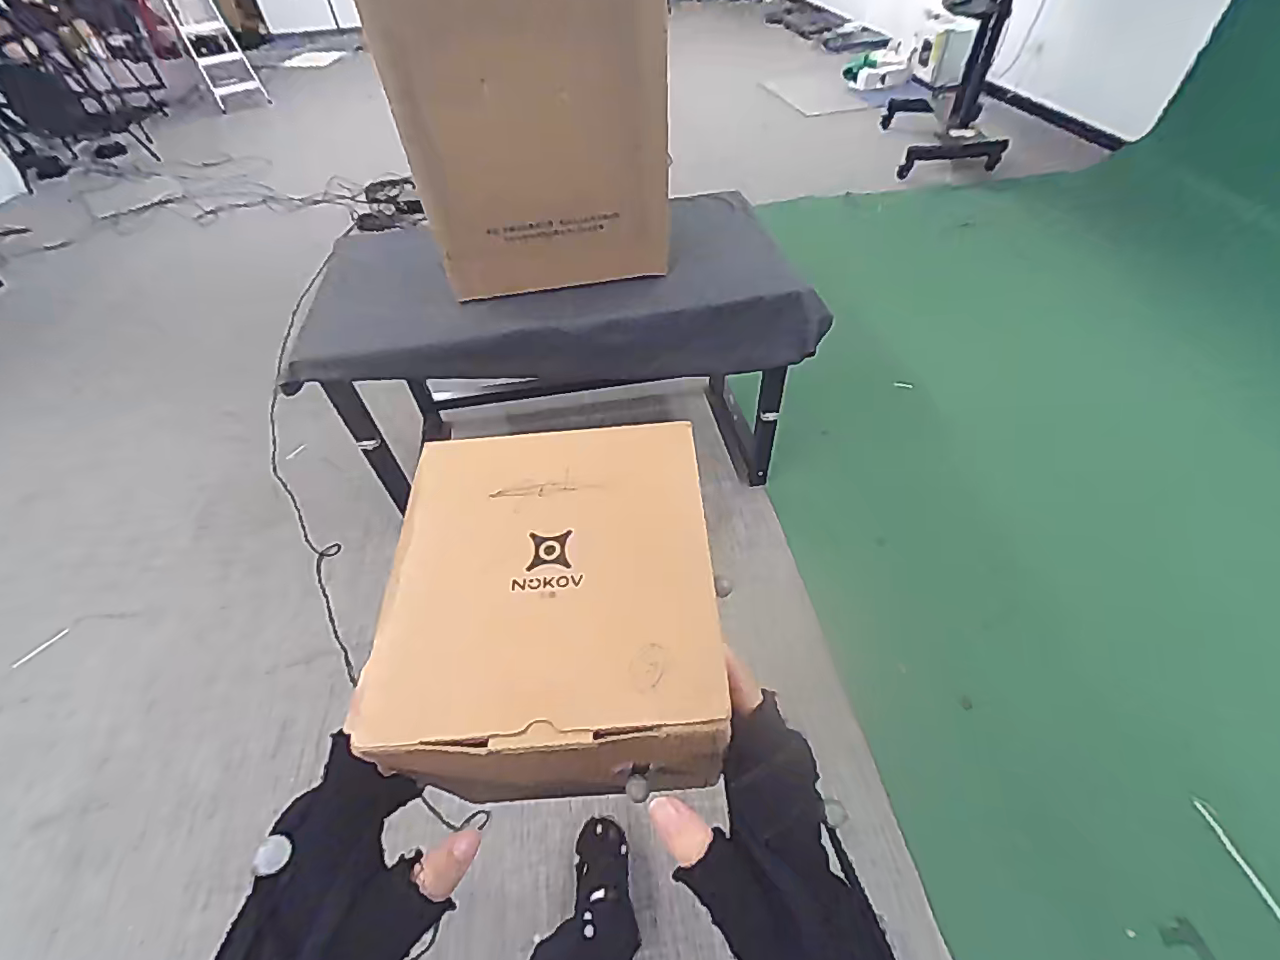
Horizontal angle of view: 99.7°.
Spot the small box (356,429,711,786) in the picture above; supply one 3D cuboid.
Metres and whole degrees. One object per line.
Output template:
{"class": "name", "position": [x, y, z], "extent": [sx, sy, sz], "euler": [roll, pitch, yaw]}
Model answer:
{"class": "small box", "position": [-0.046, 0.091, 0.352], "extent": [0.168, 0.176, 0.179], "euler": [-4, 52, 1]}
